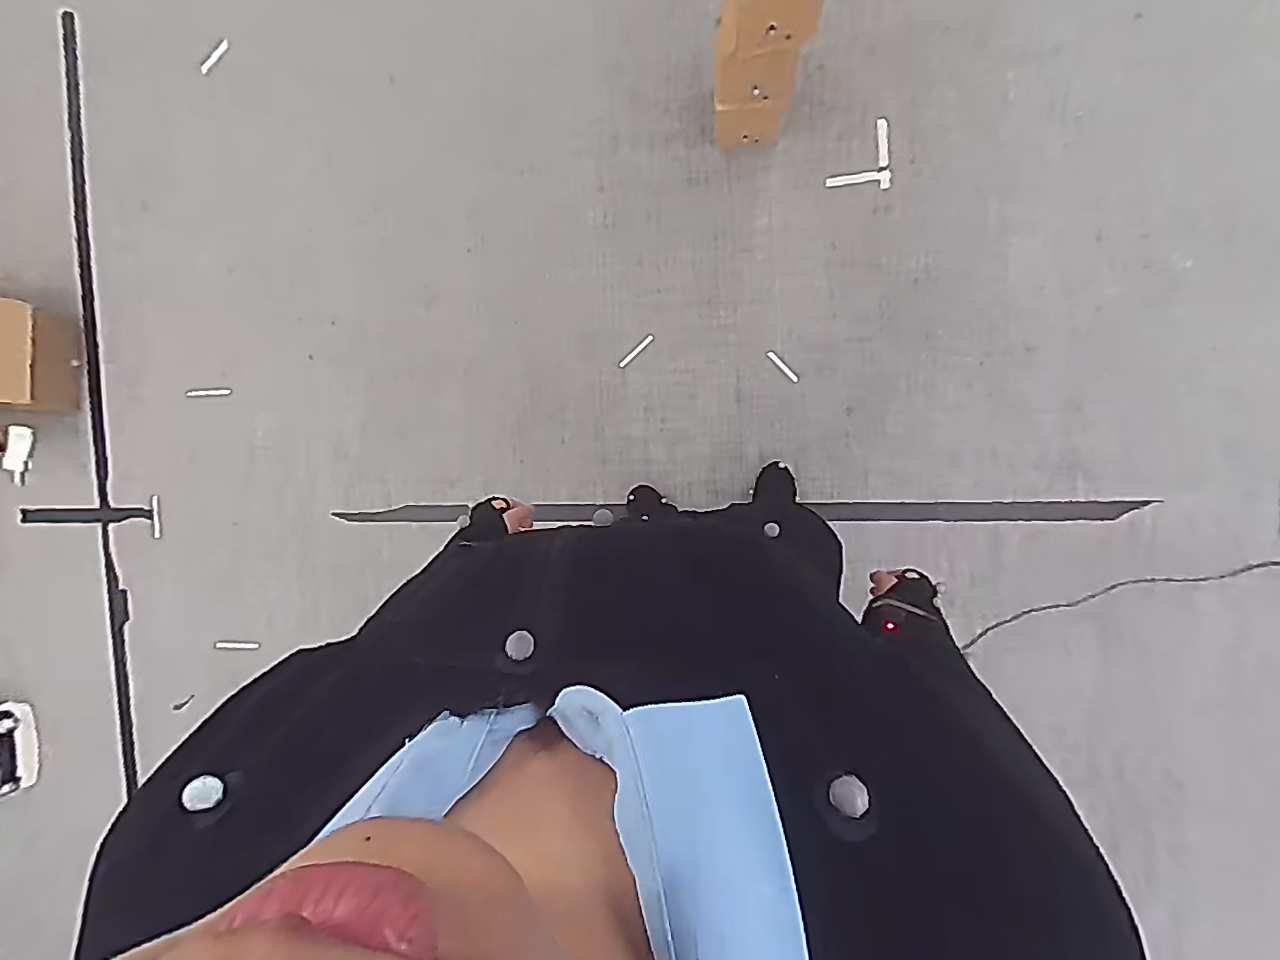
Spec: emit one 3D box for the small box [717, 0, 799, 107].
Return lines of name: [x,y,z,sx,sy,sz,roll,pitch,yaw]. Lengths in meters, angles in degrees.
small box: [0.255,-0.958,1.177,0.168,0.176,0.179,2,93,9]

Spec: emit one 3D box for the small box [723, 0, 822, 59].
small box: [0.244,-0.952,1.014,0.168,0.176,0.179,-9,91,9]
